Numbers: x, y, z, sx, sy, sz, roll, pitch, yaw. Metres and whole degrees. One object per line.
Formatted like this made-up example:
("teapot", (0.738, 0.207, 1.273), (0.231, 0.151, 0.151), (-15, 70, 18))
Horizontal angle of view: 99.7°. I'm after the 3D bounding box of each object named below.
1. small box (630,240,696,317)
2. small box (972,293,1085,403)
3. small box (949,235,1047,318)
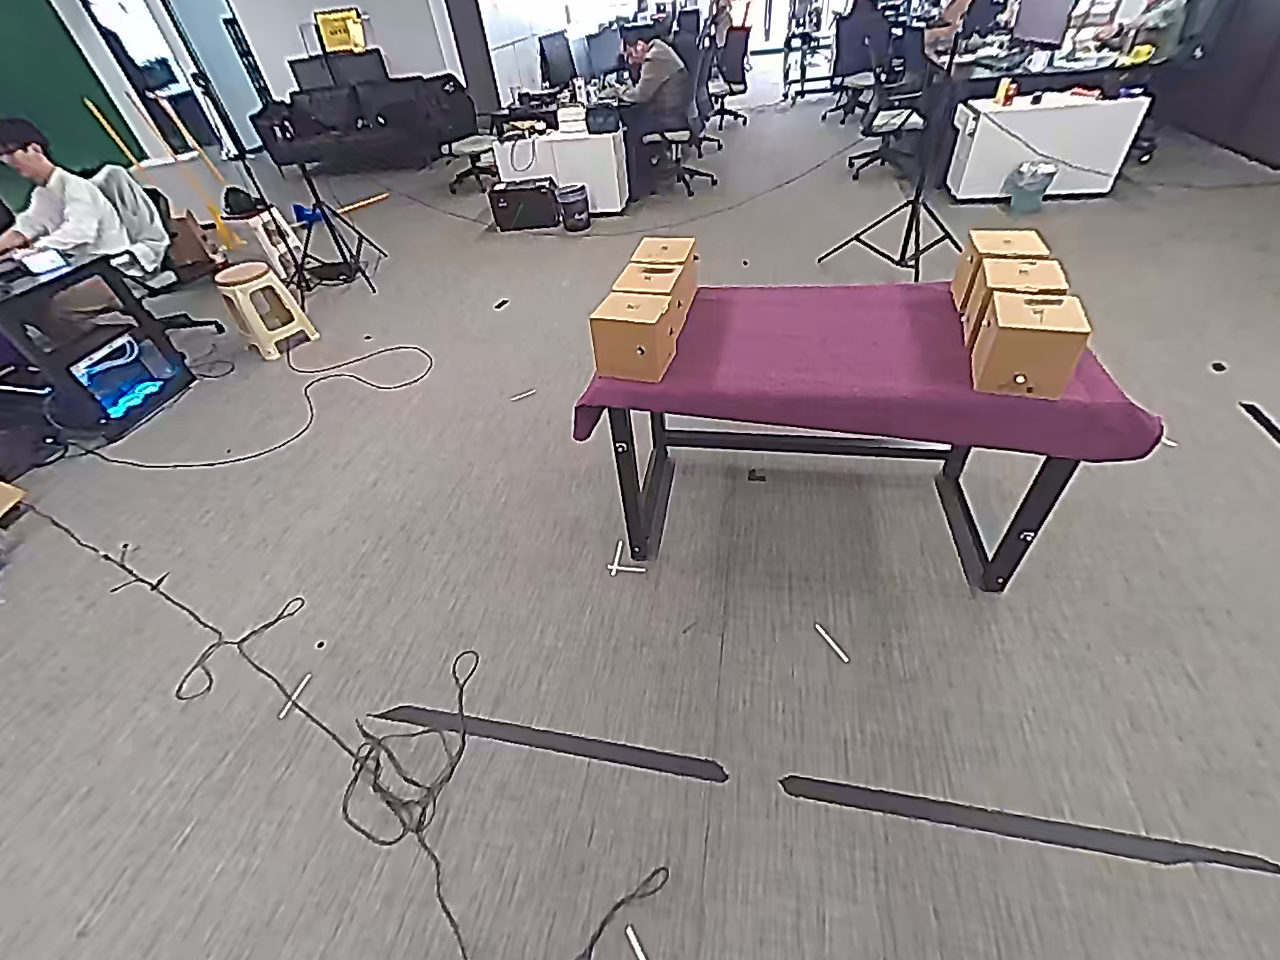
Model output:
("small box", (0.076, -0.625, 1.674), (0.168, 0.176, 0.179), (7, 46, 14))
("small box", (0.869, -0.300, 1.225), (0.168, 0.176, 0.179), (11, 49, 22))
("small box", (0.973, -0.560, 1.491), (0.168, 0.176, 0.179), (7, 44, 14))
